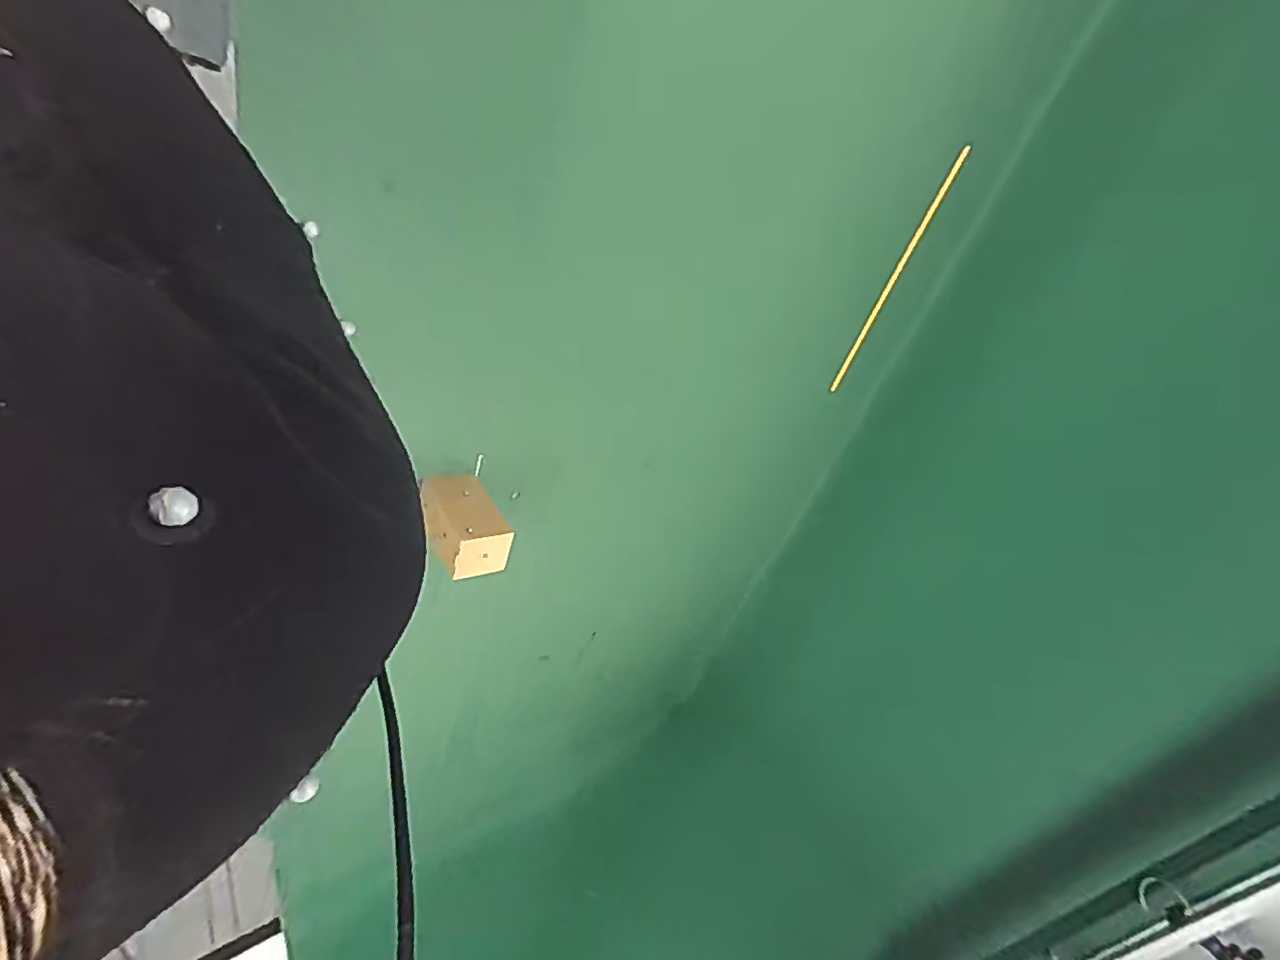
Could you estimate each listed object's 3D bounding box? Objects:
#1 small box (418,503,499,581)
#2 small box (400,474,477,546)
[{"bbox_3d":[-0.580,0.188,1.716,0.179,0.176,0.168,-7,131,-42],"label":"small box"},{"bbox_3d":[-0.677,0.093,1.805,0.179,0.176,0.168,-6,129,-43],"label":"small box"}]
